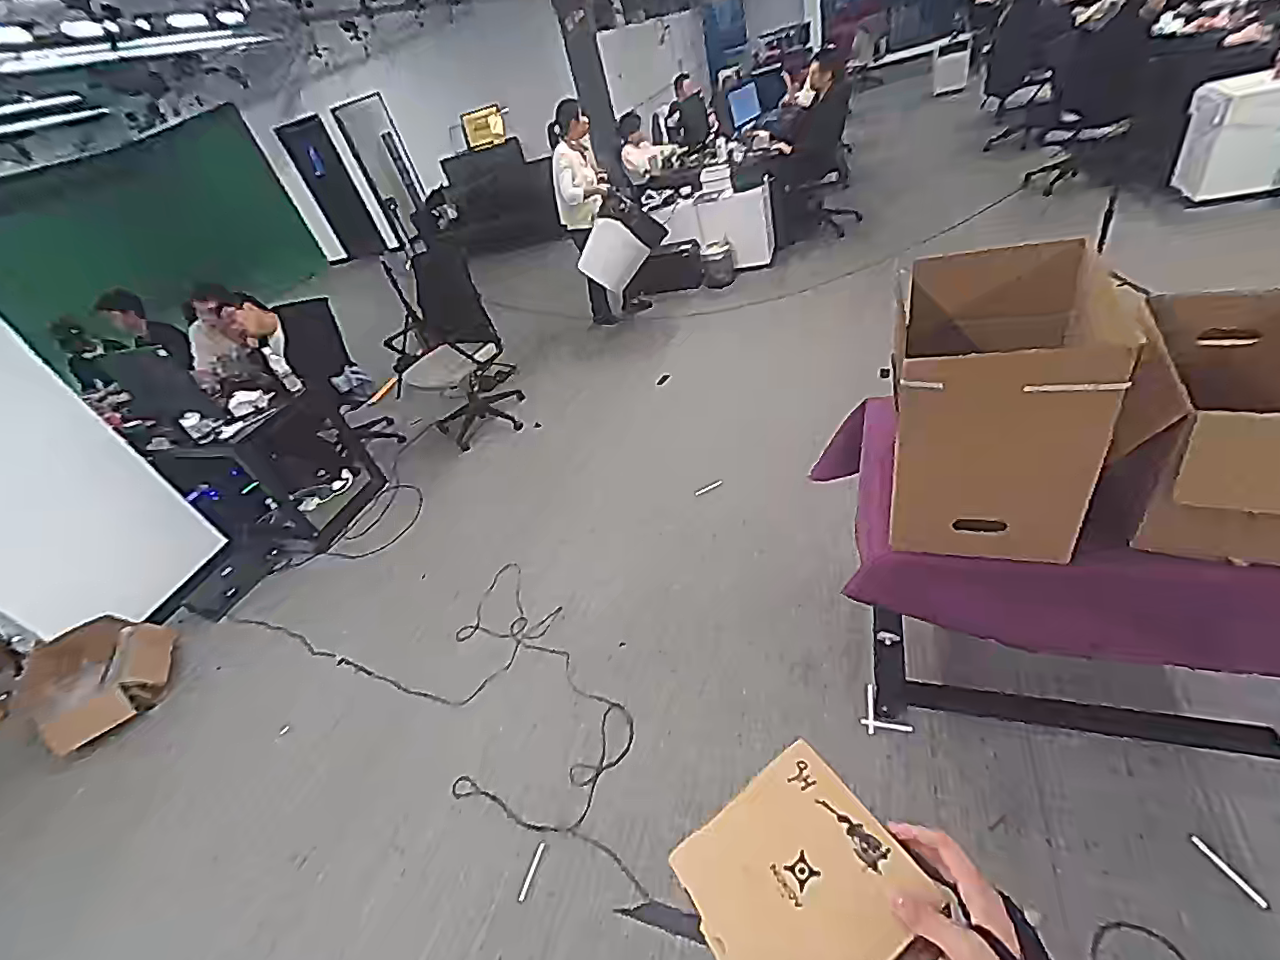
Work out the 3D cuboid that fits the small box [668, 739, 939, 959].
[{"bbox_3d":[0.161,0.399,0.518,0.179,0.176,0.168,-35,38,-9],"label":"small box"}]
